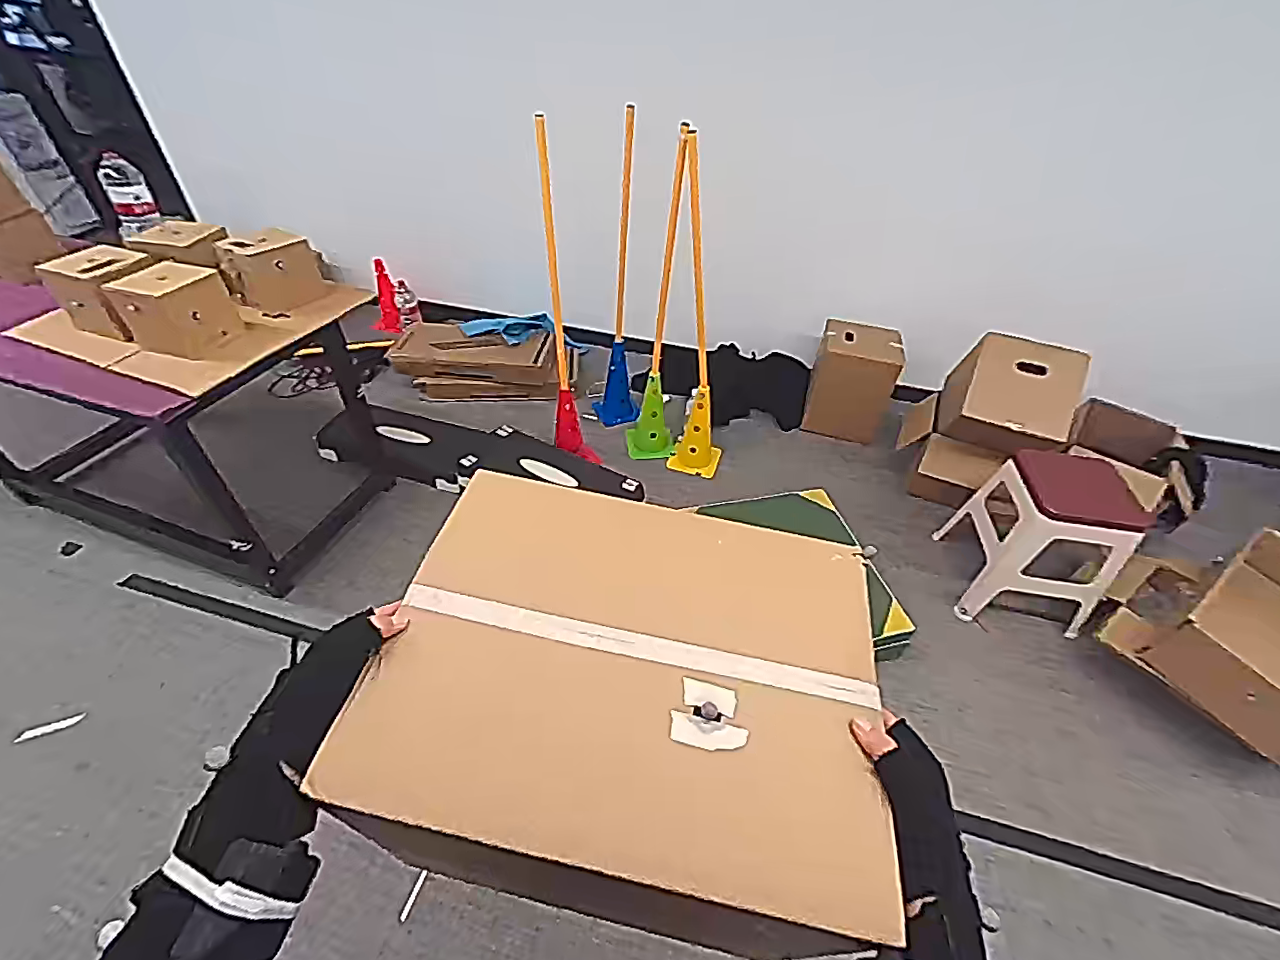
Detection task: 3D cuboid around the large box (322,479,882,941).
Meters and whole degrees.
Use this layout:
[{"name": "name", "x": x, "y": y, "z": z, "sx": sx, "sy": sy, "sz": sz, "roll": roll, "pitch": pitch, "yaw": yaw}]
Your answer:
[{"name": "large box", "x": -0.021, "y": 0.243, "z": 0.577, "sx": 0.408, "sy": 0.320, "sz": 0.320, "roll": 12, "pitch": 48, "yaw": 4}]
